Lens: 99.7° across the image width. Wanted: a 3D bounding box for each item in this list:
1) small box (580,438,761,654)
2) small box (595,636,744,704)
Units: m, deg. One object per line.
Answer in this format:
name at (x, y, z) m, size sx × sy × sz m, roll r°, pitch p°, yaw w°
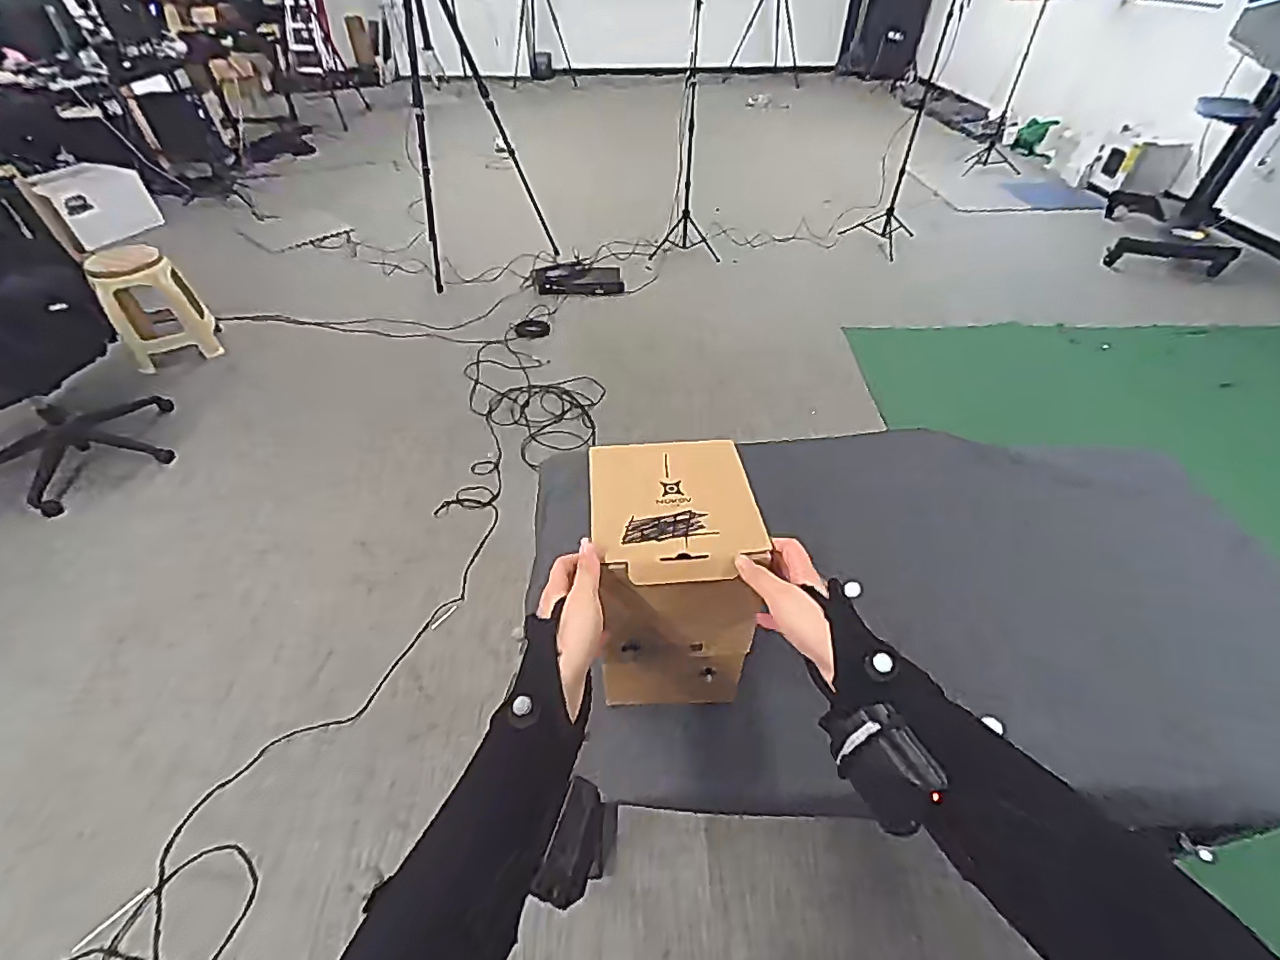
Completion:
small box at (0.026, 0.076, 0.594) m, size 0.168 × 0.176 × 0.179 m, roll -4°, pitch 42°, yaw -3°
small box at (0.033, 0.188, 0.734) m, size 0.179 × 0.176 × 0.168 m, roll -2°, pitch 43°, yaw -1°
